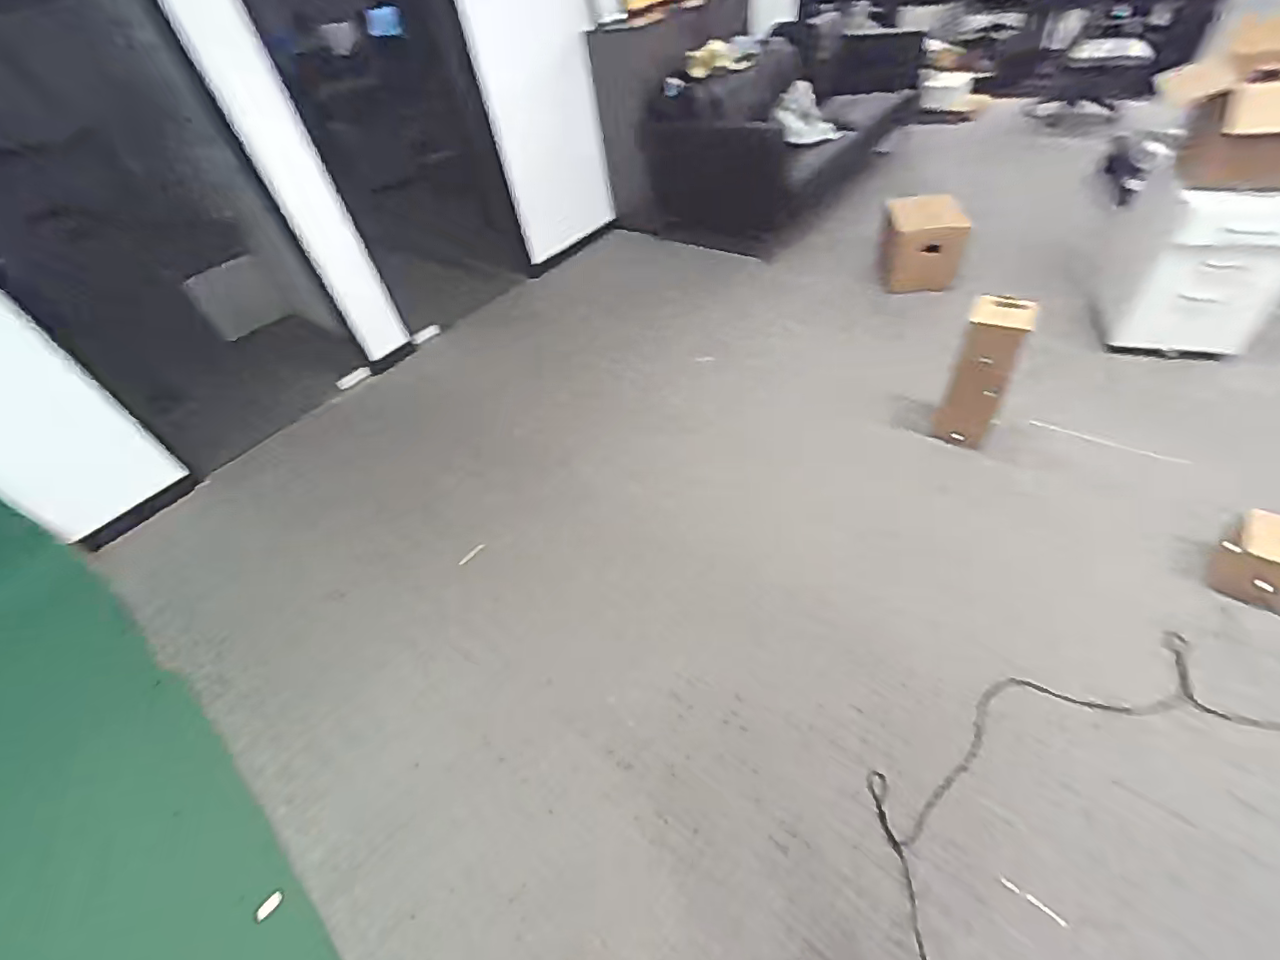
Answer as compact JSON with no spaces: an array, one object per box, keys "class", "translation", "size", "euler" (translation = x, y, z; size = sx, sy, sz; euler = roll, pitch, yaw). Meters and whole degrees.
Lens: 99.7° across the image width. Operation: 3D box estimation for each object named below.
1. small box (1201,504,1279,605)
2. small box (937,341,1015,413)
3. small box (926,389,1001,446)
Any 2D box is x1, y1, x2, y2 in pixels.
[{"class":"small box","translation":[1.663,0.203,1.452],"size":[0.168,0.176,0.179],"euler":[24,56,29]},{"class":"small box","translation":[1.160,-0.356,1.875],"size":[0.179,0.176,0.168],"euler":[20,52,30]},{"class":"small box","translation":[1.190,-0.251,1.997],"size":[0.179,0.176,0.168],"euler":[24,55,30]}]
